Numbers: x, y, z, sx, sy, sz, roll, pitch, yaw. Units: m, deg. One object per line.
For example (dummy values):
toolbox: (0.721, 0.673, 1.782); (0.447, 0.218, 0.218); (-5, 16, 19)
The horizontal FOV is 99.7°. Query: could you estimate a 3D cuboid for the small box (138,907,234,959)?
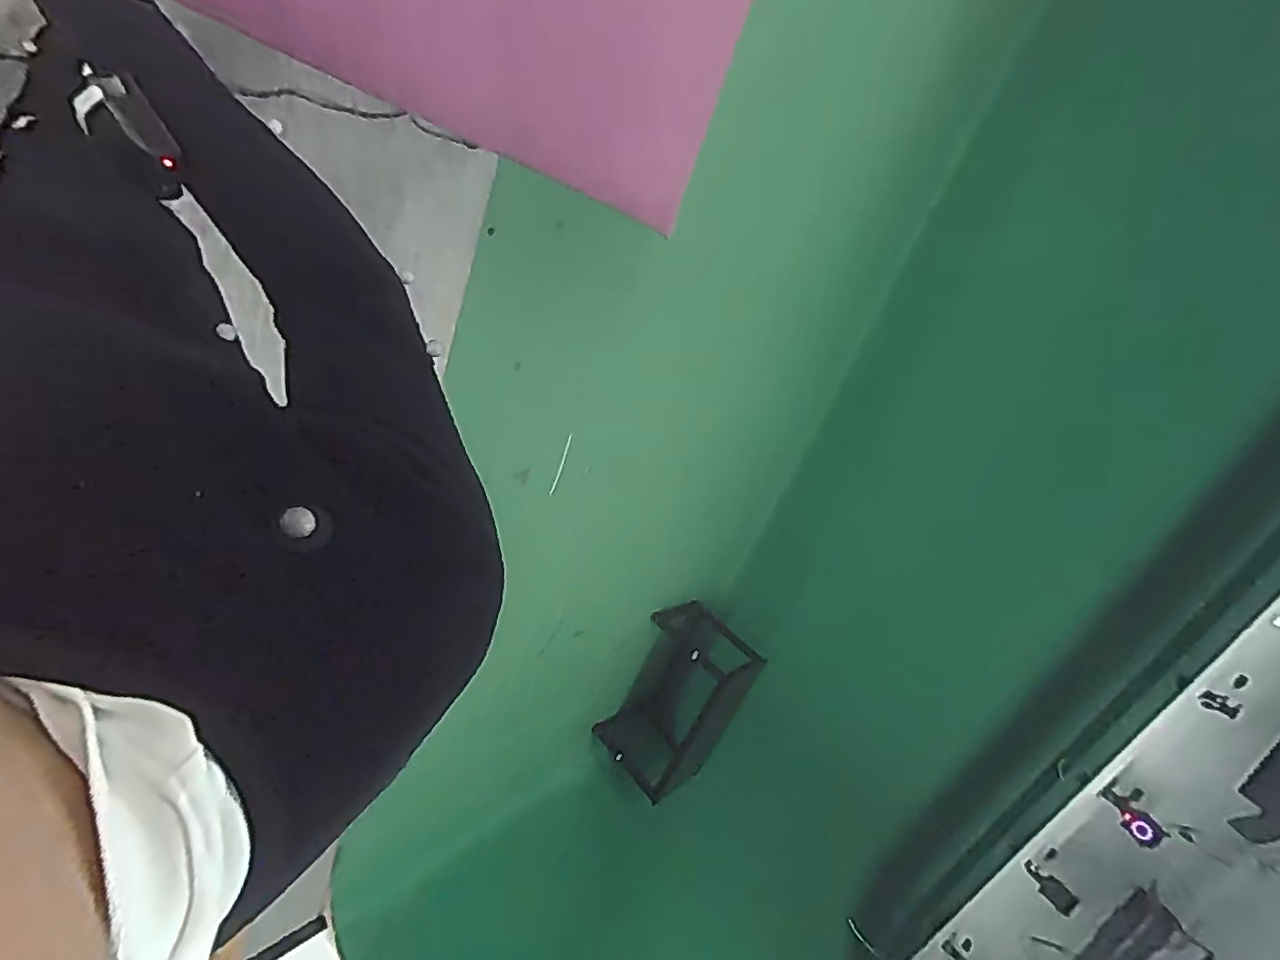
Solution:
small box: (-1.223, 1.310, 1.449); (0.168, 0.176, 0.179); (0, 121, -53)
